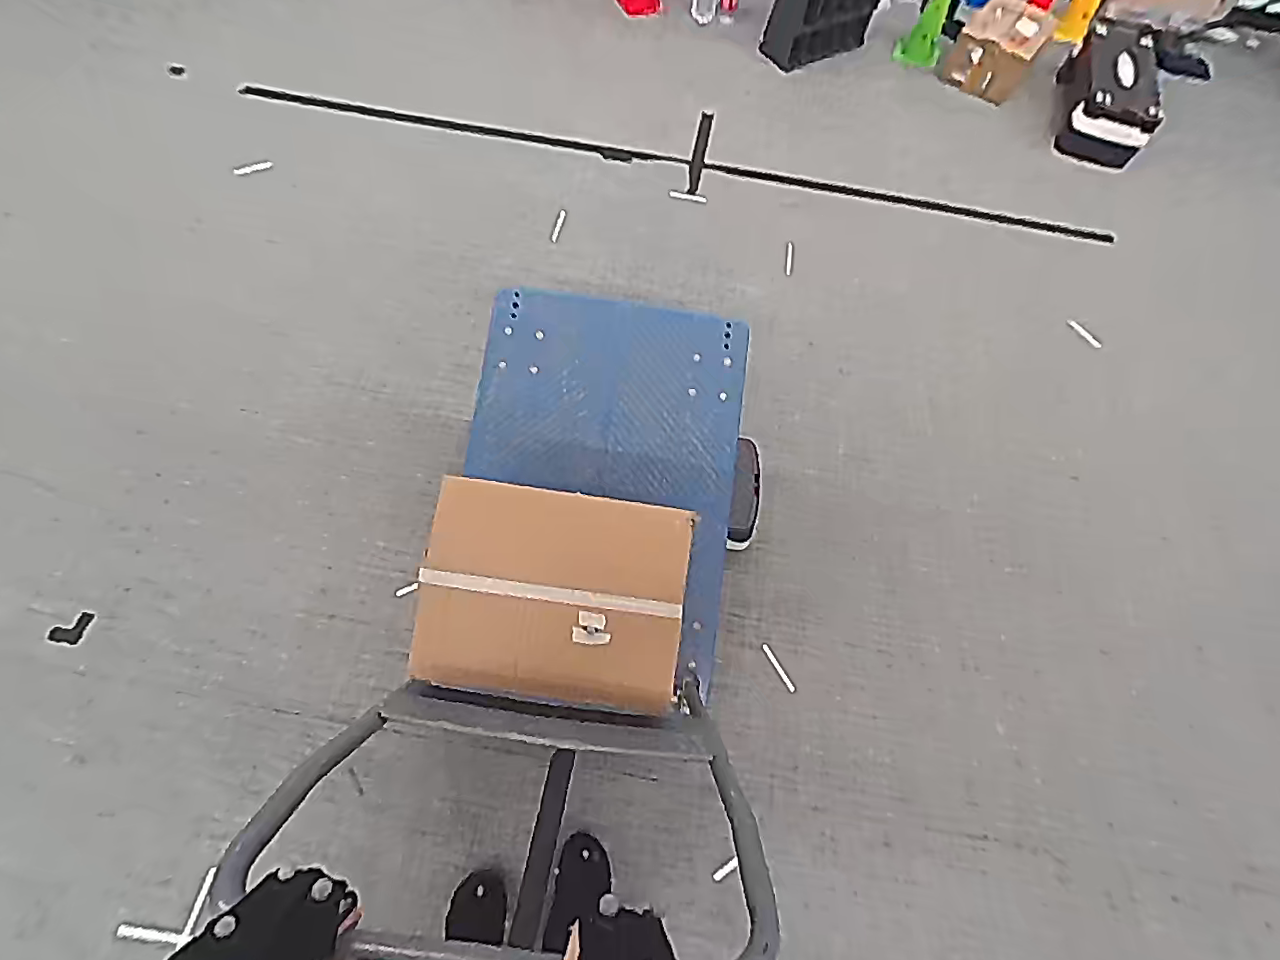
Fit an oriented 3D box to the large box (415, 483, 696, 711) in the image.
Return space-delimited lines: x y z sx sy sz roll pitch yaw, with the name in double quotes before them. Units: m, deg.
"large box" -0.135 0.199 0.986 0.408 0.320 0.320 9 83 -2
